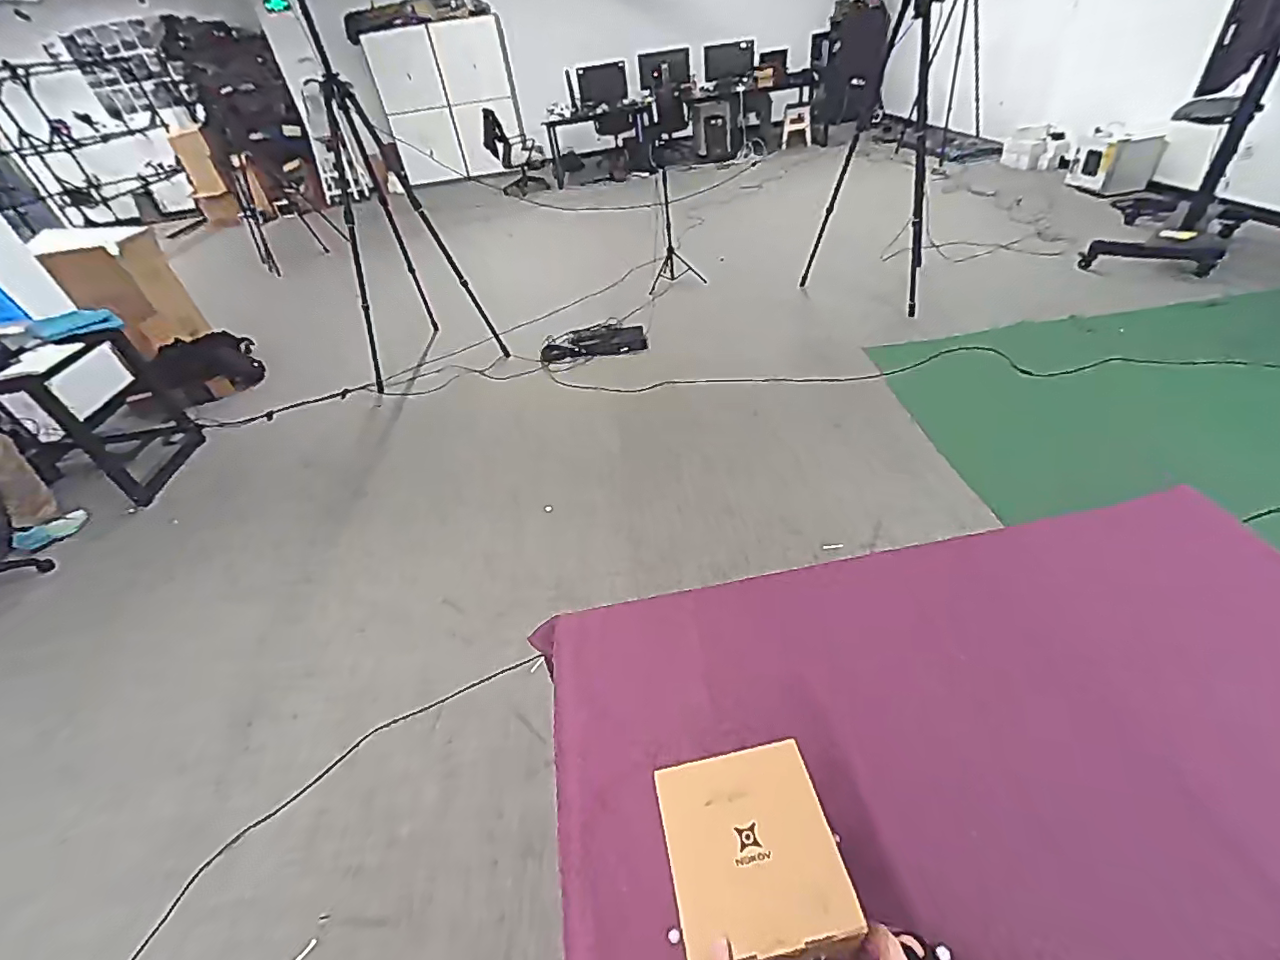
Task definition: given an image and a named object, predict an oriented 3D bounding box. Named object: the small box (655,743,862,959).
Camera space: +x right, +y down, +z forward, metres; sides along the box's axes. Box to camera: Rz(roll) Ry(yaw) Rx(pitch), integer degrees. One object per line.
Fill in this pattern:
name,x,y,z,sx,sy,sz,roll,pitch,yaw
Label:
small box,0.118,0.426,0.592,0.168,0.176,0.179,-11,39,-4
